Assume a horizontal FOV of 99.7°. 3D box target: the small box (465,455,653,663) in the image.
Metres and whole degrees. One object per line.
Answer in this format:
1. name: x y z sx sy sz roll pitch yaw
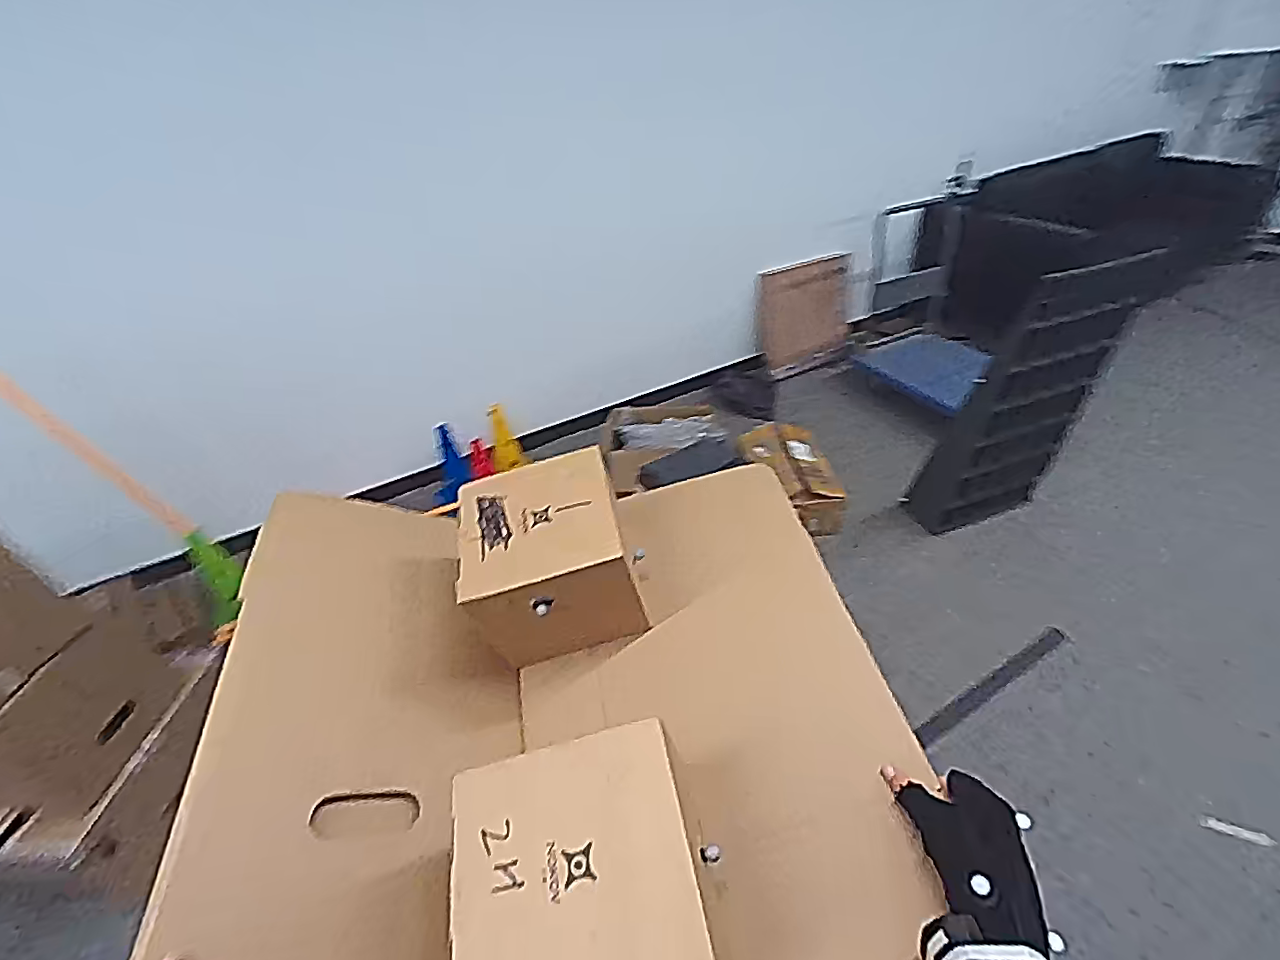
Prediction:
1. small box: -0.096 0.102 0.664 0.179 0.176 0.168 -16 48 0
